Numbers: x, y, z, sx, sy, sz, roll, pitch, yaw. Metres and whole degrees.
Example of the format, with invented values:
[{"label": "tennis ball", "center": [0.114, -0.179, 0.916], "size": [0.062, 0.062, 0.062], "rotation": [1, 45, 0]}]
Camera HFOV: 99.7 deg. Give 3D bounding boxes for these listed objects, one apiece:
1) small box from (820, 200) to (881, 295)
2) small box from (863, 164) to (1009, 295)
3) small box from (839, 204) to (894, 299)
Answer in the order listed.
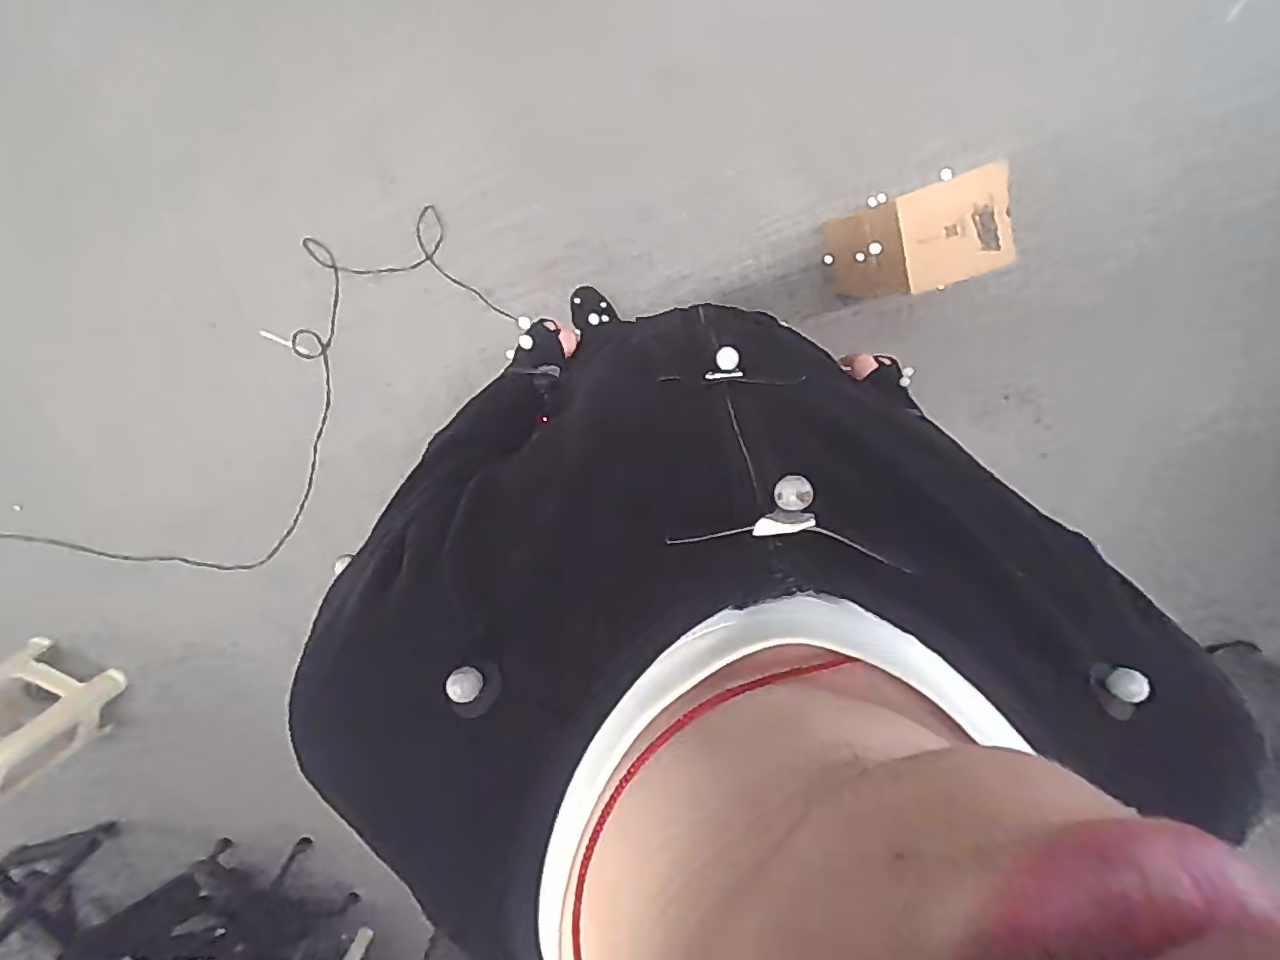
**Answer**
[{"label": "small box", "center": [0.546, -0.561, 1.296], "size": [0.168, 0.176, 0.179], "rotation": [-17, 110, 9]}, {"label": "small box", "center": [0.532, -0.450, 0.988], "size": [0.179, 0.176, 0.168], "rotation": [-16, 109, 10]}, {"label": "small box", "center": [0.538, -0.502, 1.146], "size": [0.168, 0.176, 0.179], "rotation": [-17, 112, 10]}]
